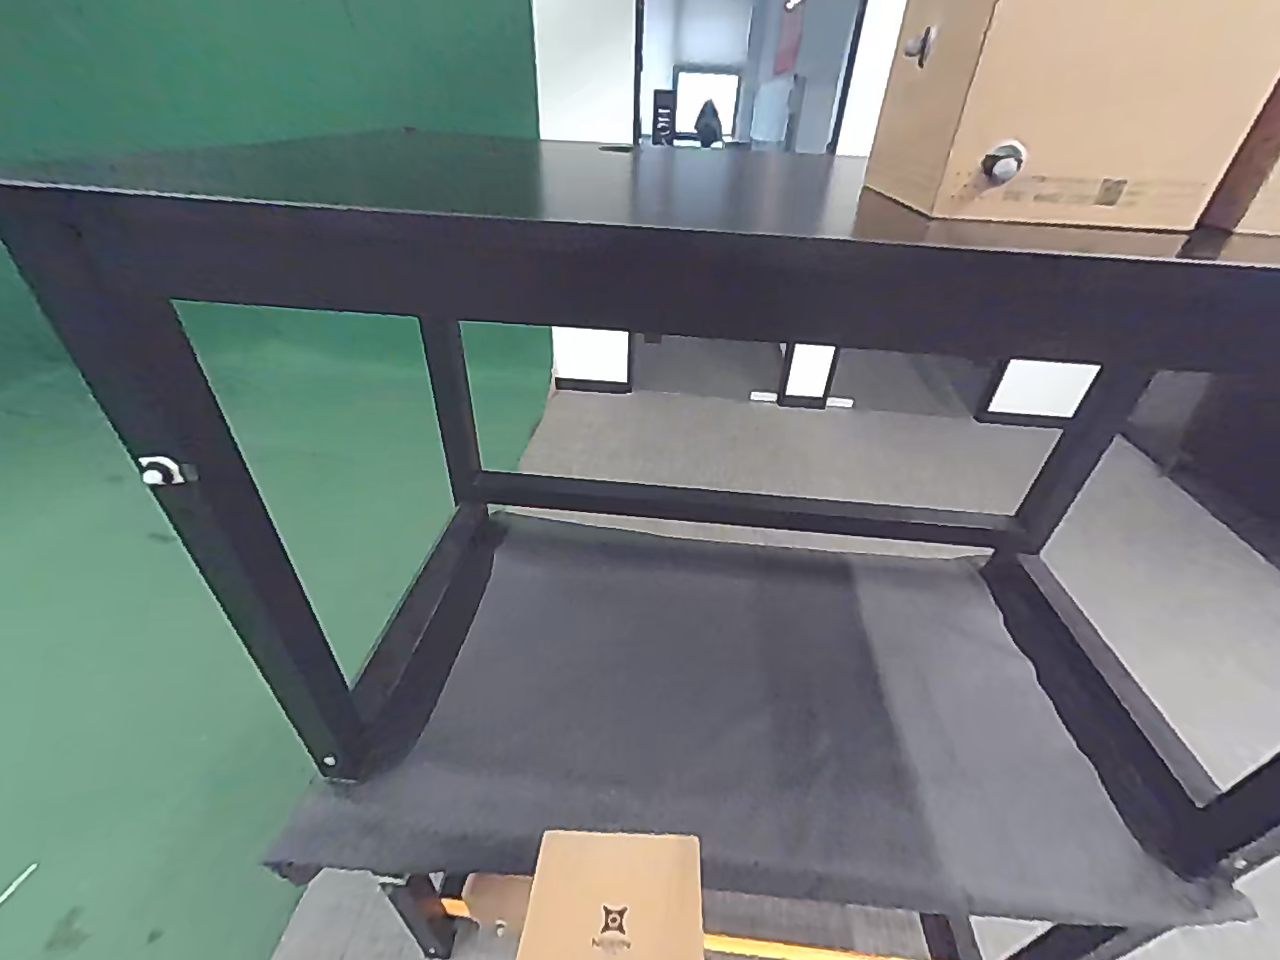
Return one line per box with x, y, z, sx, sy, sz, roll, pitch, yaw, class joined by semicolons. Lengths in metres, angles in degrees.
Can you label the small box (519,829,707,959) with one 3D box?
-0.022;0.481;0.523;0.168;0.176;0.179;0;21;2;small box
